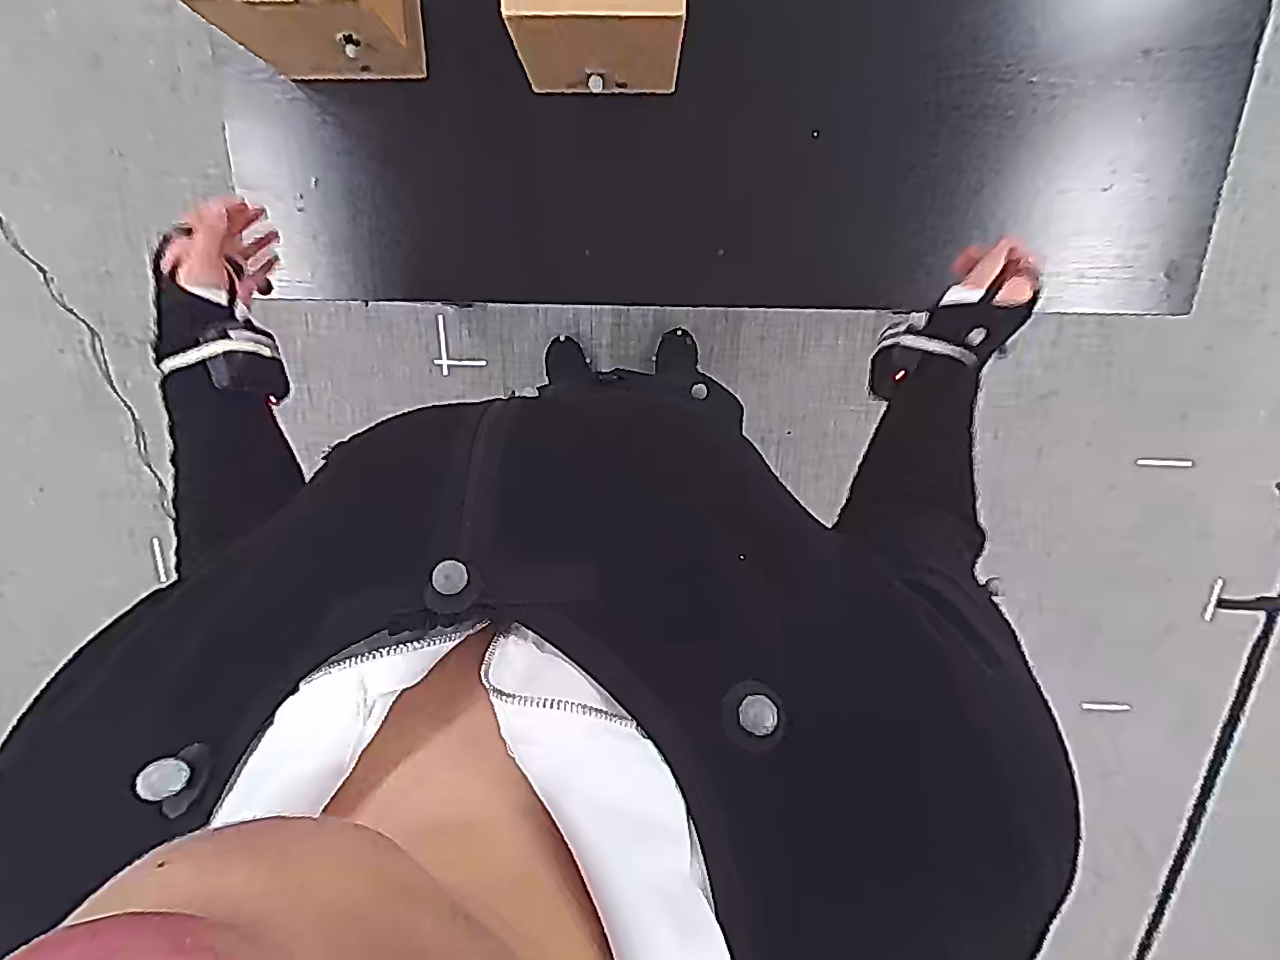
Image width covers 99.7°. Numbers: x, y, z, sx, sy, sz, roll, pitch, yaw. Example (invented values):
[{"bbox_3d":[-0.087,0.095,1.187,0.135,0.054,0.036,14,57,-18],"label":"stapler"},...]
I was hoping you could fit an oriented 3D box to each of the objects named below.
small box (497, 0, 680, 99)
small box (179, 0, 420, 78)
[{"bbox_3d":[-0.046,-0.516,0.539,0.168,0.176,0.179,0,106,0],"label":"small box"},{"bbox_3d":[-0.333,-0.529,0.533,0.168,0.176,0.179,-1,105,-2],"label":"small box"}]
